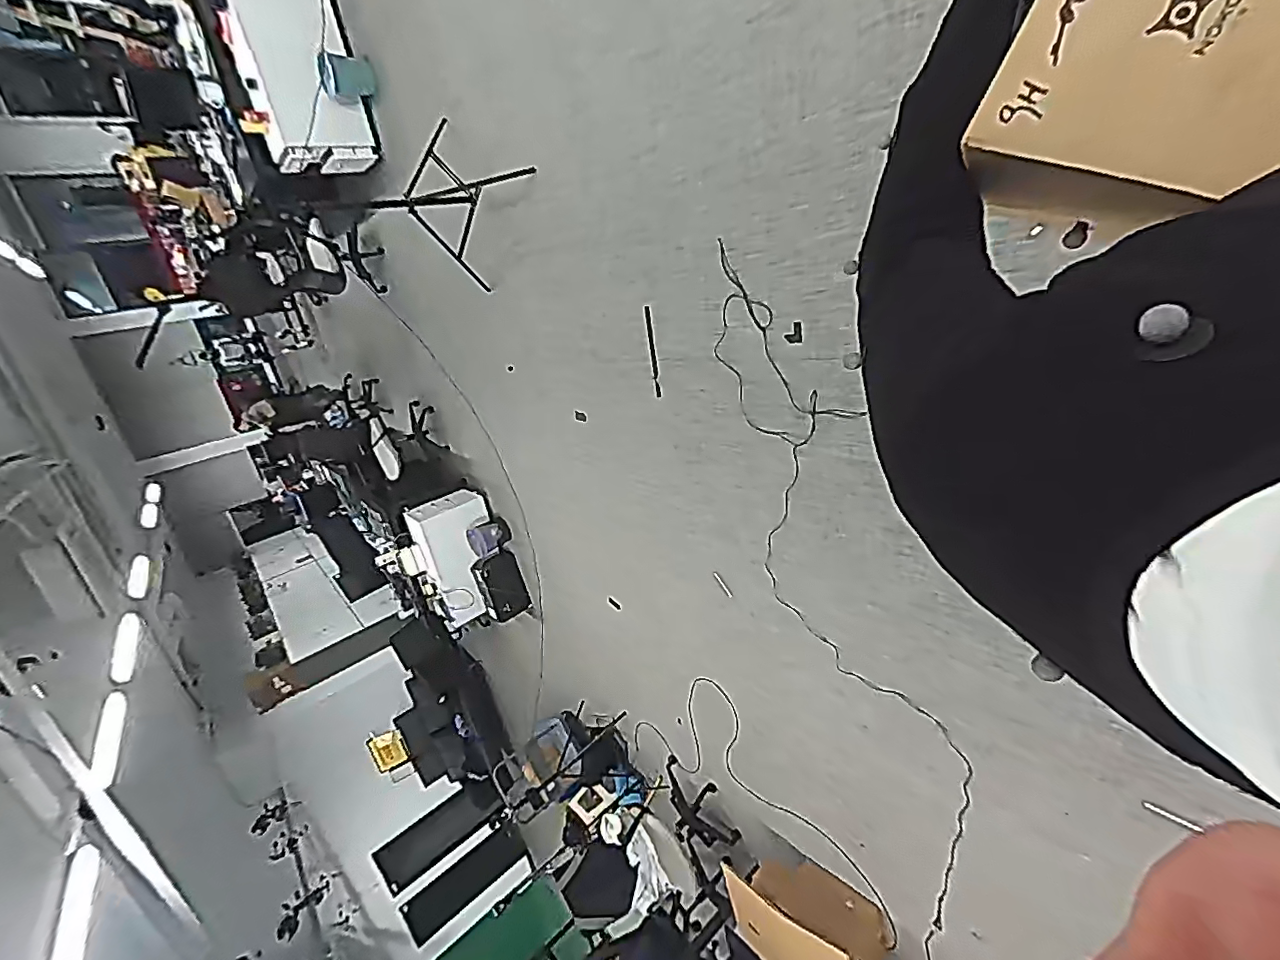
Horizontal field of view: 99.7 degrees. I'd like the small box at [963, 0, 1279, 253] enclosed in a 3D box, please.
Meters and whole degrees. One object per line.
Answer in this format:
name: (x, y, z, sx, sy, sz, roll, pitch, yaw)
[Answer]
small box: (0.360, -0.272, 0.372, 0.179, 0.176, 0.168, 34, 115, 26)
